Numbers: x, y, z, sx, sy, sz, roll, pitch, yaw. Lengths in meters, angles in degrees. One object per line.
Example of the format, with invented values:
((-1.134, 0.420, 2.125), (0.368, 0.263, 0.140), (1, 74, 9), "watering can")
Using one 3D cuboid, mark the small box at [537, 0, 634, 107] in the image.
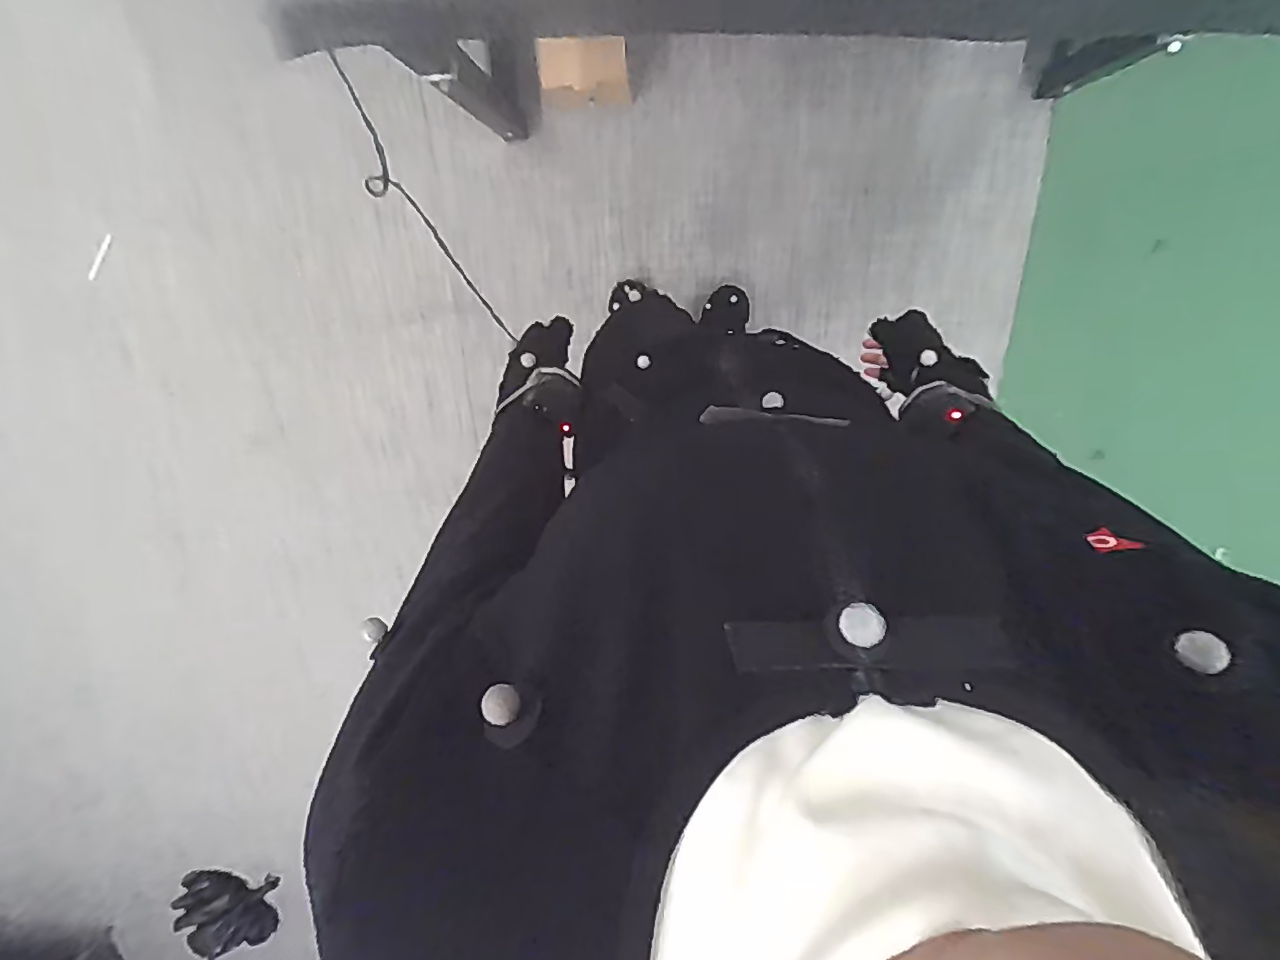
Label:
((-0.101, -0.864, 1.076), (0.168, 0.176, 0.179), (-2, 112, 4), "small box")
